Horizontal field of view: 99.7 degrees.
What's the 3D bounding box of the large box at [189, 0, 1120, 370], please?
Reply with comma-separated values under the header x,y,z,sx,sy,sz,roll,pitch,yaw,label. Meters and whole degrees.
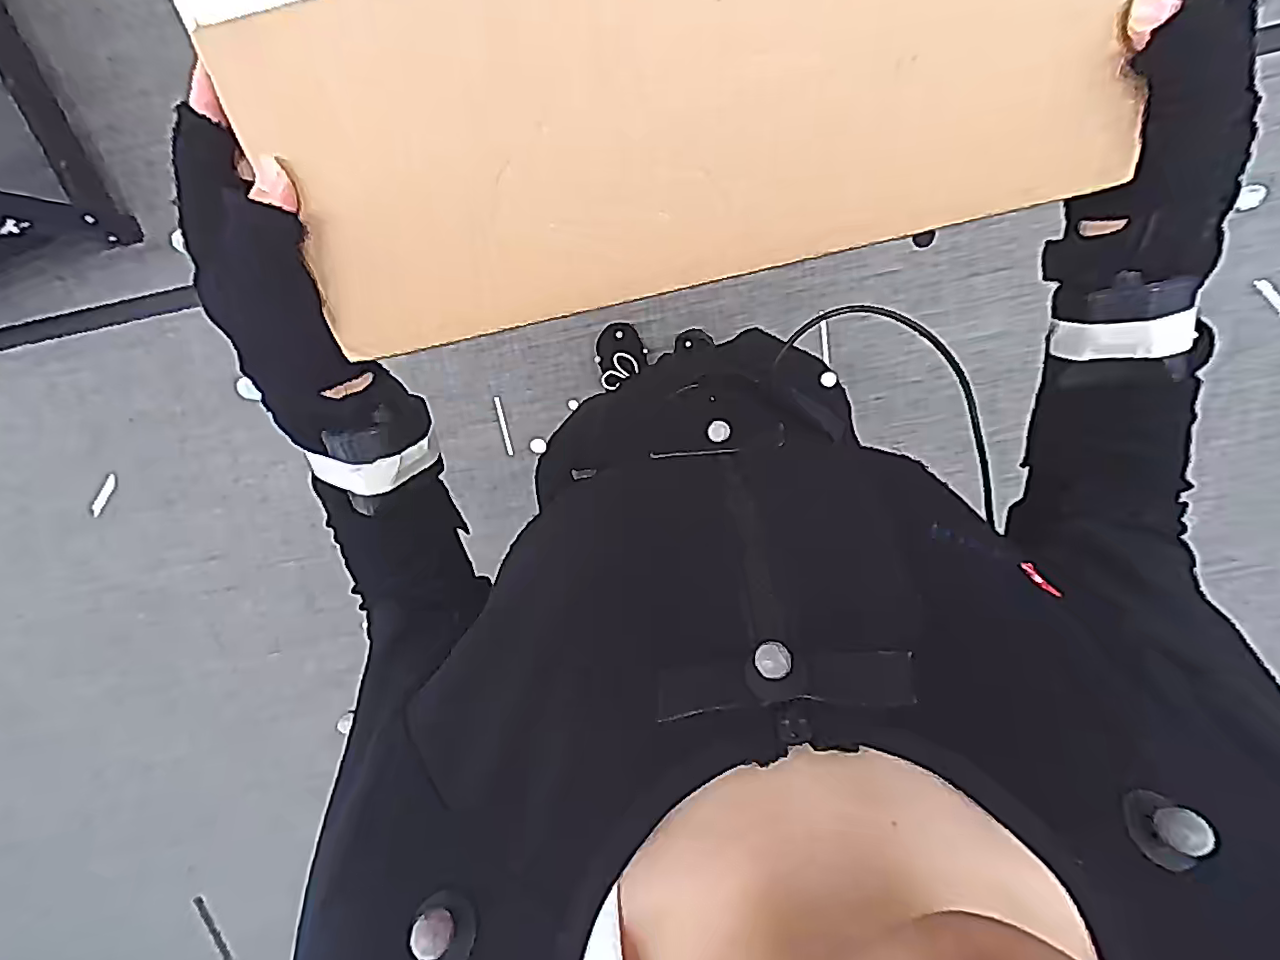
x,y,z,sx,sy,sz,roll,pitch,yaw,label
0.000,-0.304,0.352,0.408,0.320,0.320,-12,116,4,large box
